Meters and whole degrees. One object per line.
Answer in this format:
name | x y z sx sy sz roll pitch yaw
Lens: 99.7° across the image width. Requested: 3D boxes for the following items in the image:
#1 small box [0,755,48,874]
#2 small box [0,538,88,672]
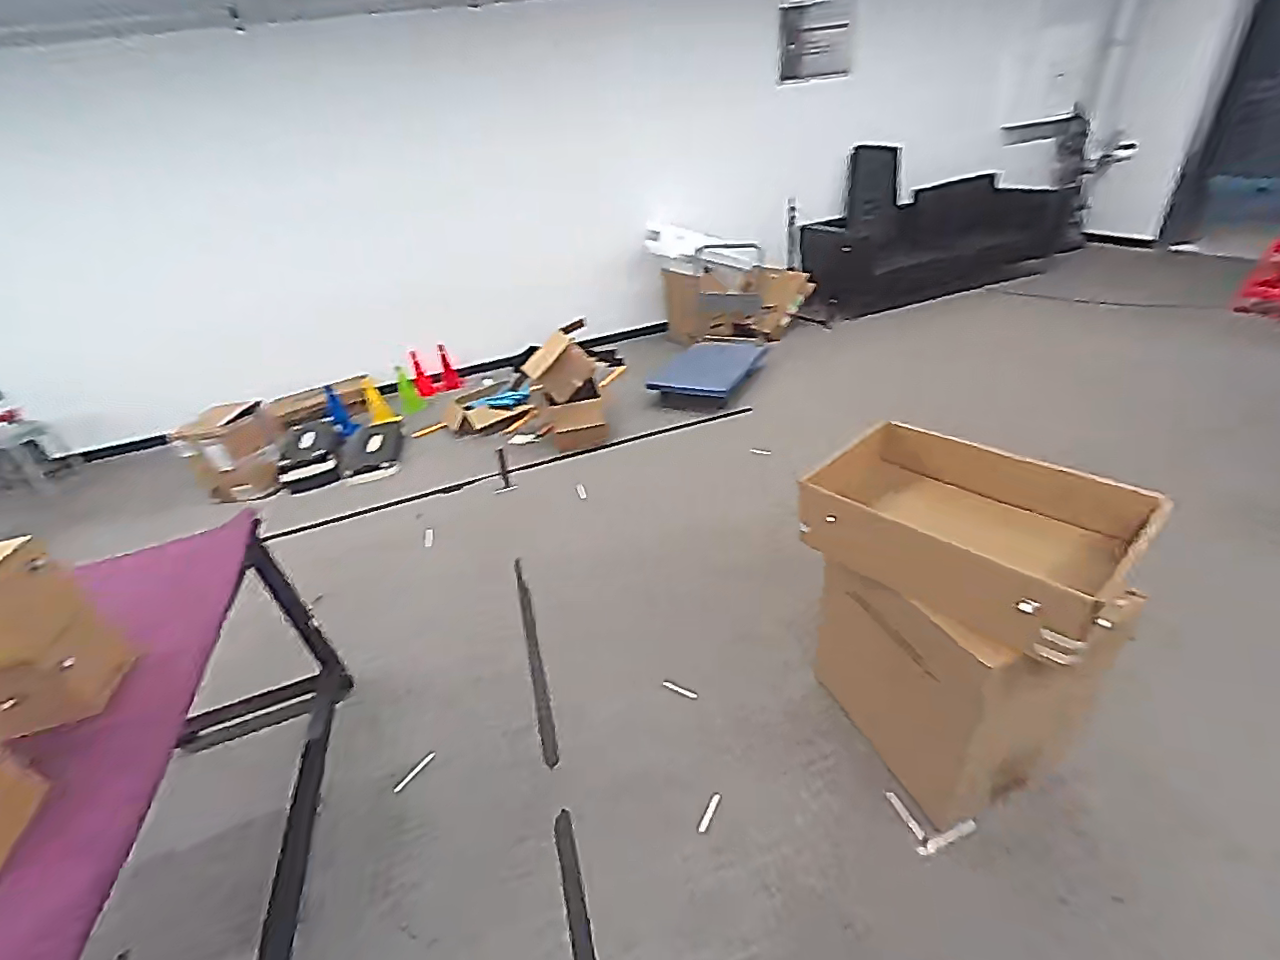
small box | -1.075 0.530 0.813 0.168 0.176 0.179 -18 32 -14
small box | -1.188 0.238 0.991 0.168 0.176 0.179 -15 32 -9
